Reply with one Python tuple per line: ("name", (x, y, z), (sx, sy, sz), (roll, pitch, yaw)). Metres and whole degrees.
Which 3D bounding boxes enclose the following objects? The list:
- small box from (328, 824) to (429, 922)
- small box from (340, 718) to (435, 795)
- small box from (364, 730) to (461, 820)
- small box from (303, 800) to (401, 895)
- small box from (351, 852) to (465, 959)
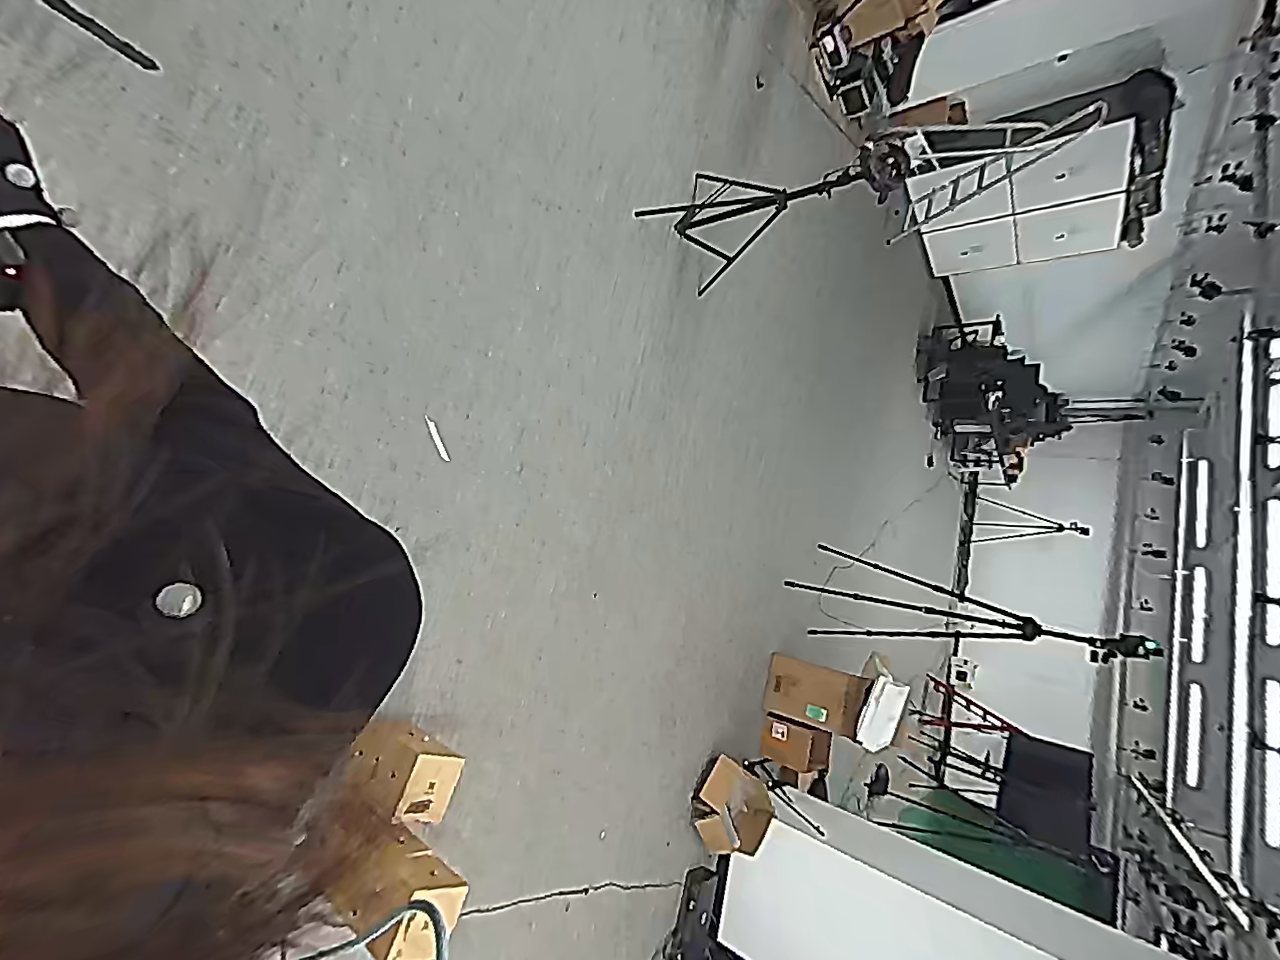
("small box", (-0.722, 1.079, 1.491), (0.168, 0.176, 0.179), (31, 70, -49))
("small box", (-0.775, 0.843, 1.658), (0.179, 0.176, 0.168), (34, 66, -47))
("small box", (-0.654, 0.842, 1.546), (0.168, 0.176, 0.179), (40, 62, -46))
("small box", (-0.848, 1.069, 1.592), (0.179, 0.176, 0.168), (28, 71, -49))
("small box", (-0.595, 1.085, 1.387), (0.179, 0.176, 0.168), (41, 62, -46))
